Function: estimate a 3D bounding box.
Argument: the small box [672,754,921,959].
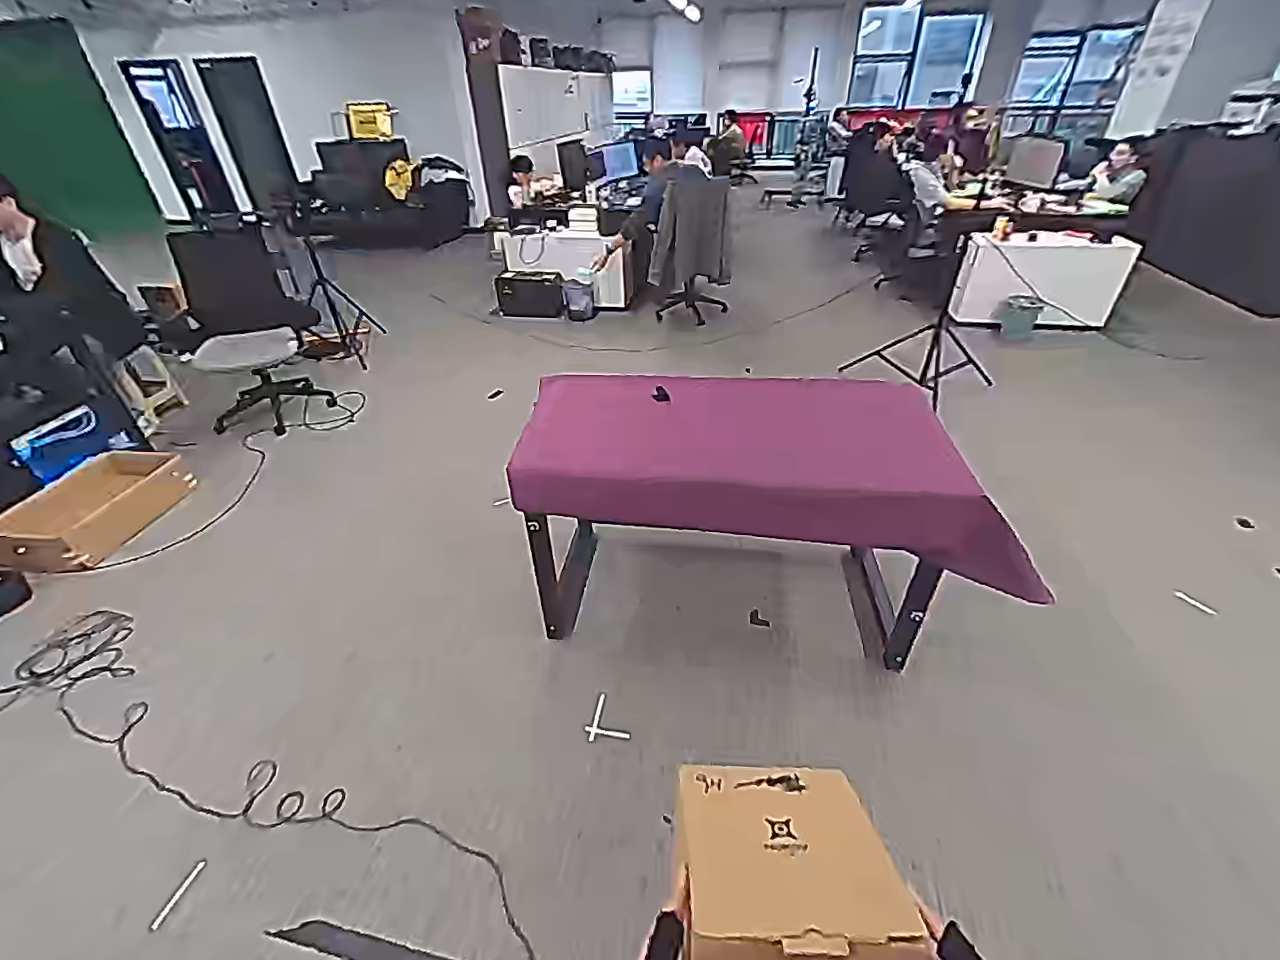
[{"bbox_3d":[0.115,0.371,0.470,0.168,0.176,0.179,2,11,0],"label":"small box"}]
